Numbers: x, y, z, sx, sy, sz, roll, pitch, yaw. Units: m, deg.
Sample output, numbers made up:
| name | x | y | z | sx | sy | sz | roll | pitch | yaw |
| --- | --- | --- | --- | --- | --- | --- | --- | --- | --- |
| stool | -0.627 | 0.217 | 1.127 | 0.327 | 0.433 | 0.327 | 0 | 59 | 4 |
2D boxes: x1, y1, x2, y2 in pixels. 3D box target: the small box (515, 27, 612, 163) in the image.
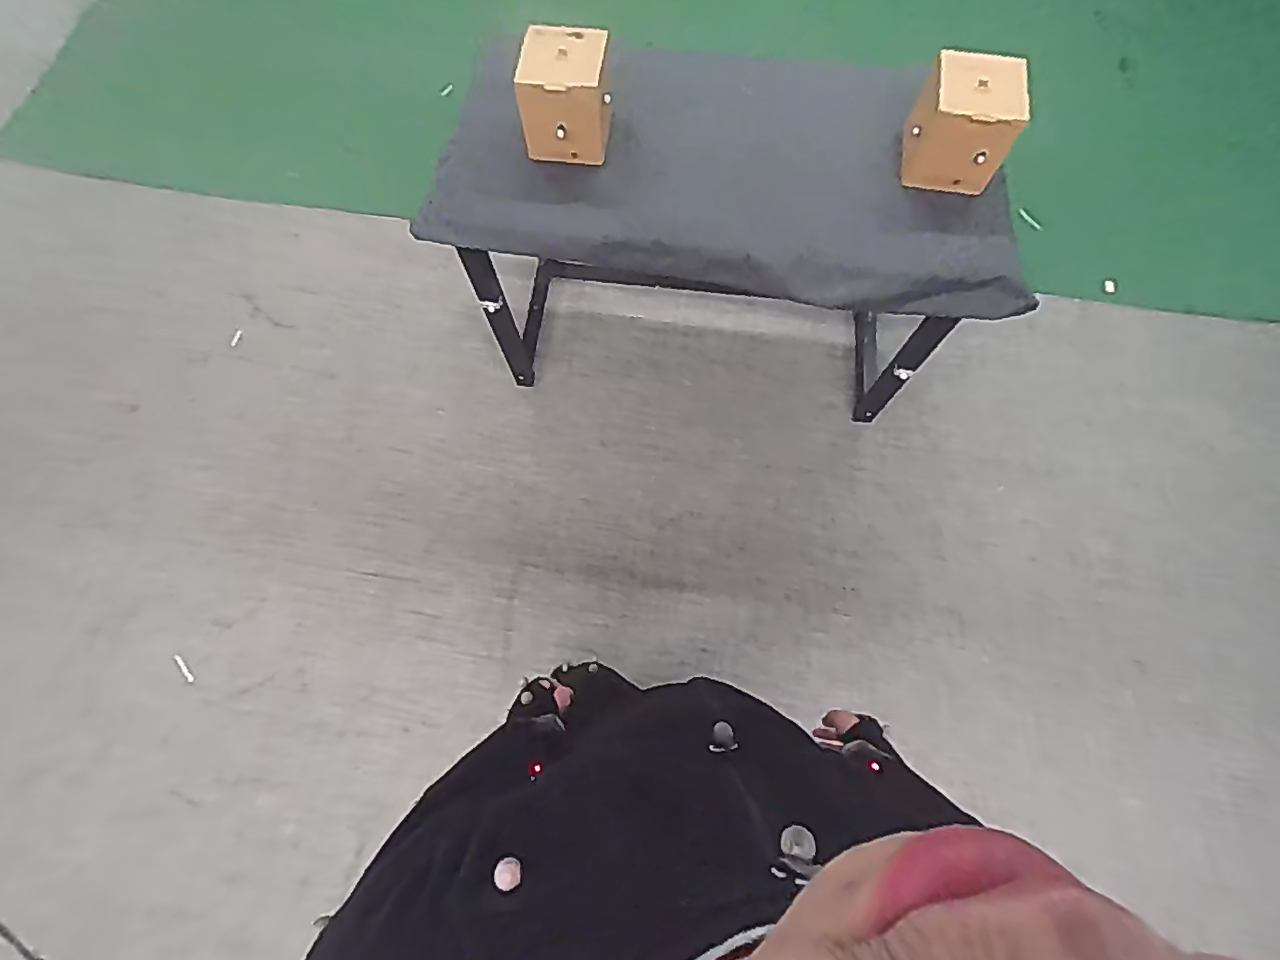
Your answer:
| name | x | y | z | sx | sy | sz | roll | pitch | yaw |
| --- | --- | --- | --- | --- | --- | --- | --- | --- | --- |
| small box | -0.151 | -0.806 | 1.144 | 0.168 | 0.176 | 0.179 | 6 | 71 | 2 |

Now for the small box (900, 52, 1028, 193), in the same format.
| name | x | y | z | sx | sy | sz | roll | pitch | yaw |
| --- | --- | --- | --- | --- | --- | --- | --- | --- | --- |
| small box | 0.651 | -0.722 | 1.104 | 0.168 | 0.176 | 0.179 | 10 | 70 | 3 |
